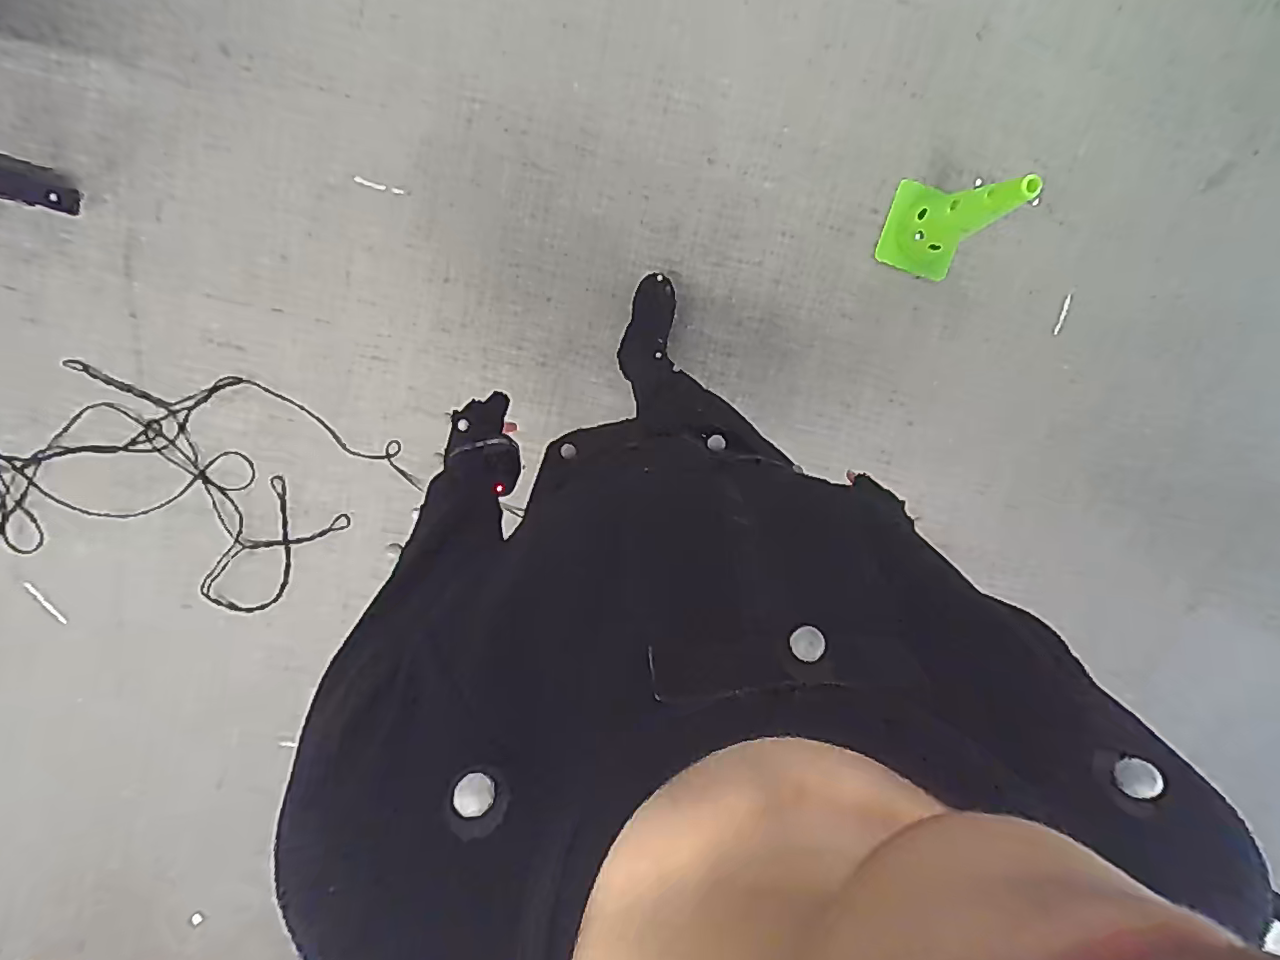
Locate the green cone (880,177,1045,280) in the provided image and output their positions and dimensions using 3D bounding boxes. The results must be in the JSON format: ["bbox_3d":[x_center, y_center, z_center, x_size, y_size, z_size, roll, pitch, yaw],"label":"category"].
[{"bbox_3d":[0.729,-0.589,1.187,0.200,0.368,0.202,15,100,-6],"label":"green cone"}]
